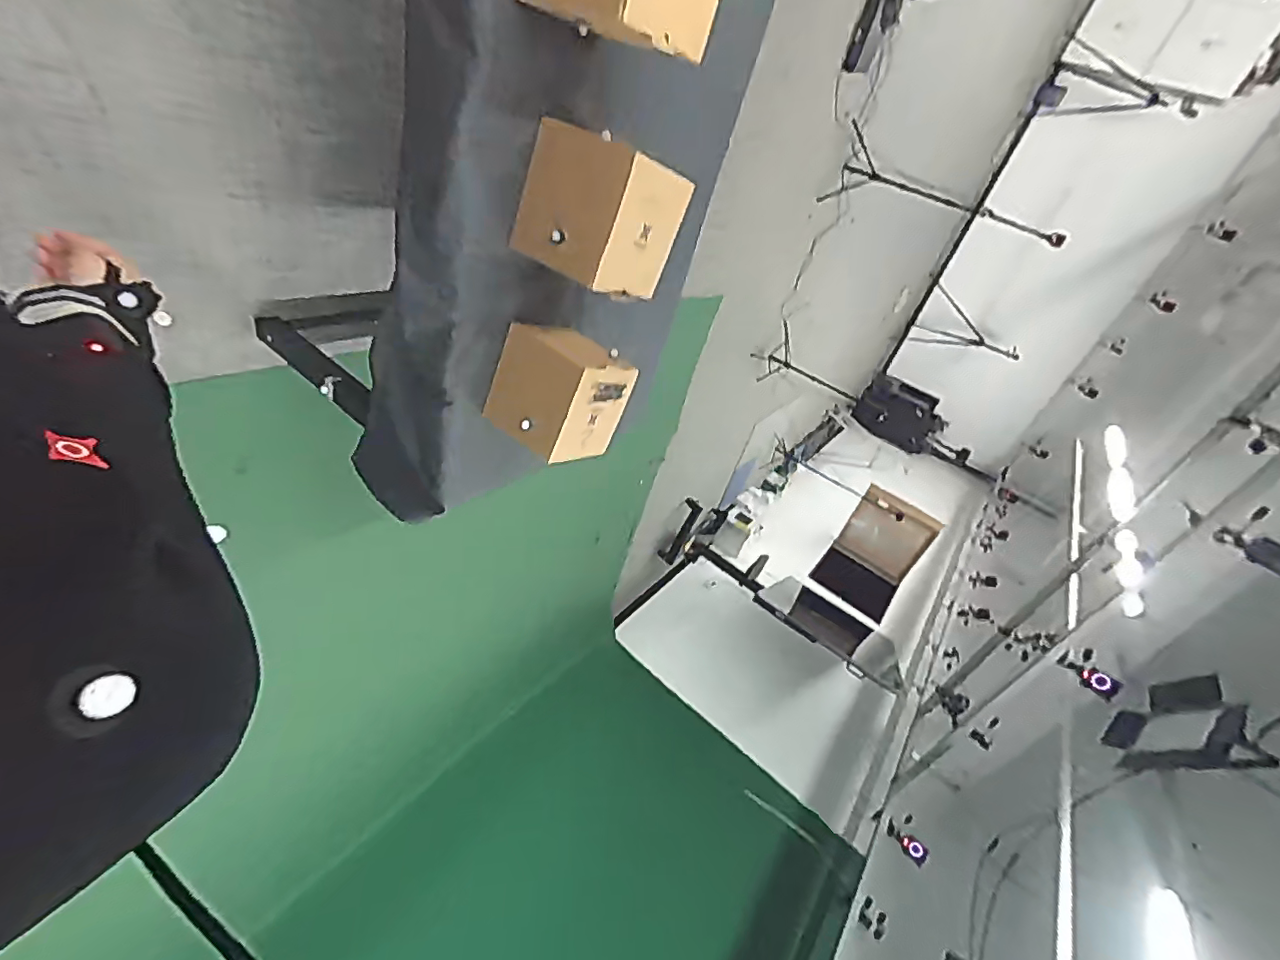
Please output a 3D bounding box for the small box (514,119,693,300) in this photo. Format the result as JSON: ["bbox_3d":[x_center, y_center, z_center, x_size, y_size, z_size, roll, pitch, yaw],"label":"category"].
[{"bbox_3d":[-0.057,-0.384,0.786,0.168,0.176,0.179,-22,140,-56],"label":"small box"}]

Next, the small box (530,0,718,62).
[{"bbox_3d":[-0.013,-0.593,0.580,0.168,0.176,0.179,-30,148,-49],"label":"small box"}]
